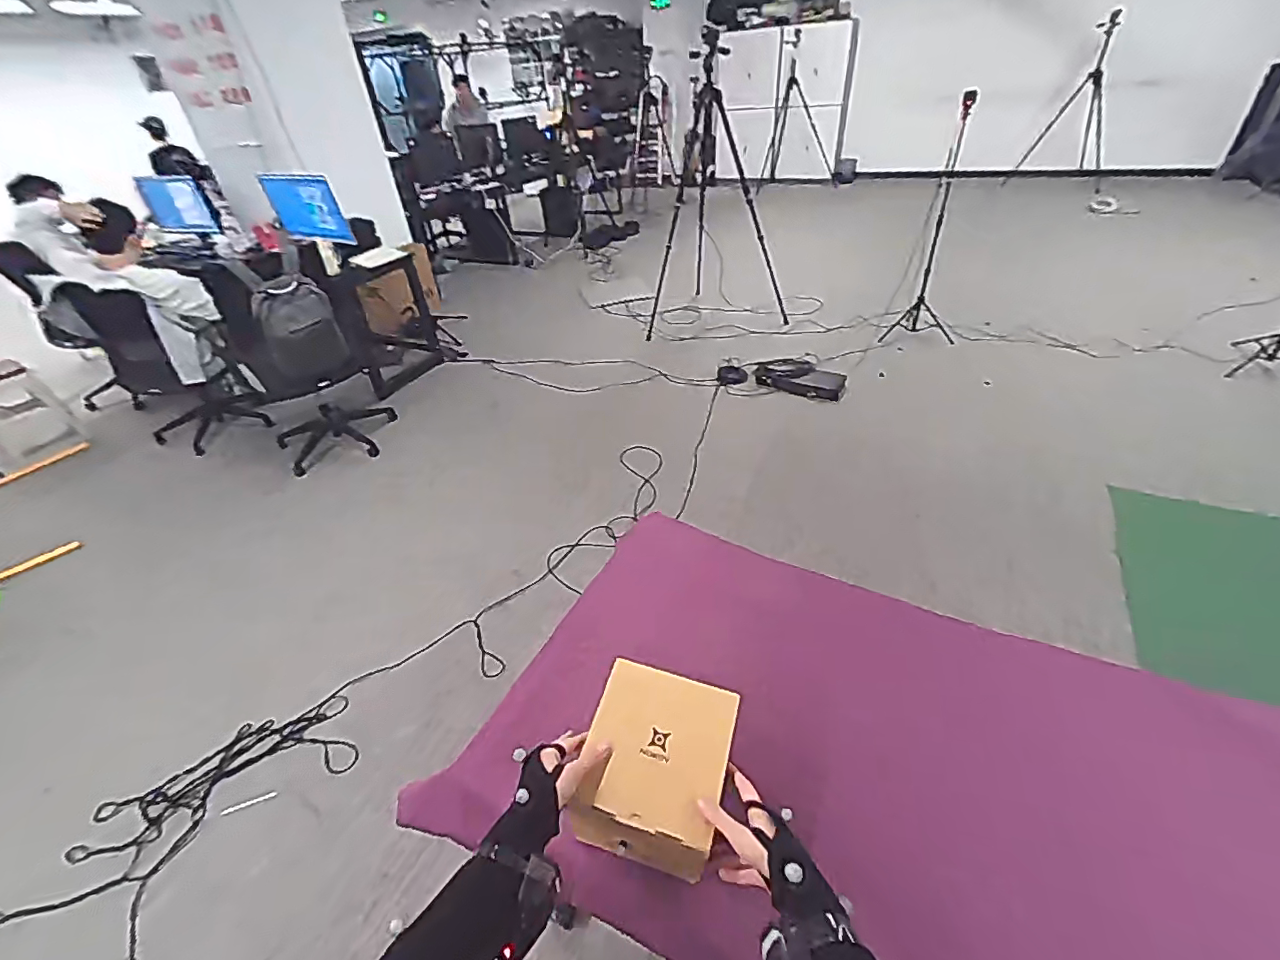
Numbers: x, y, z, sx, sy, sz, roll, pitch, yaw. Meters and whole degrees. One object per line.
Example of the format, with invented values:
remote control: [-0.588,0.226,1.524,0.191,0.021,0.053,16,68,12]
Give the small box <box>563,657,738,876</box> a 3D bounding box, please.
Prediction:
small box: [0.017,0.360,0.680,0.168,0.176,0.179,13,48,12]
